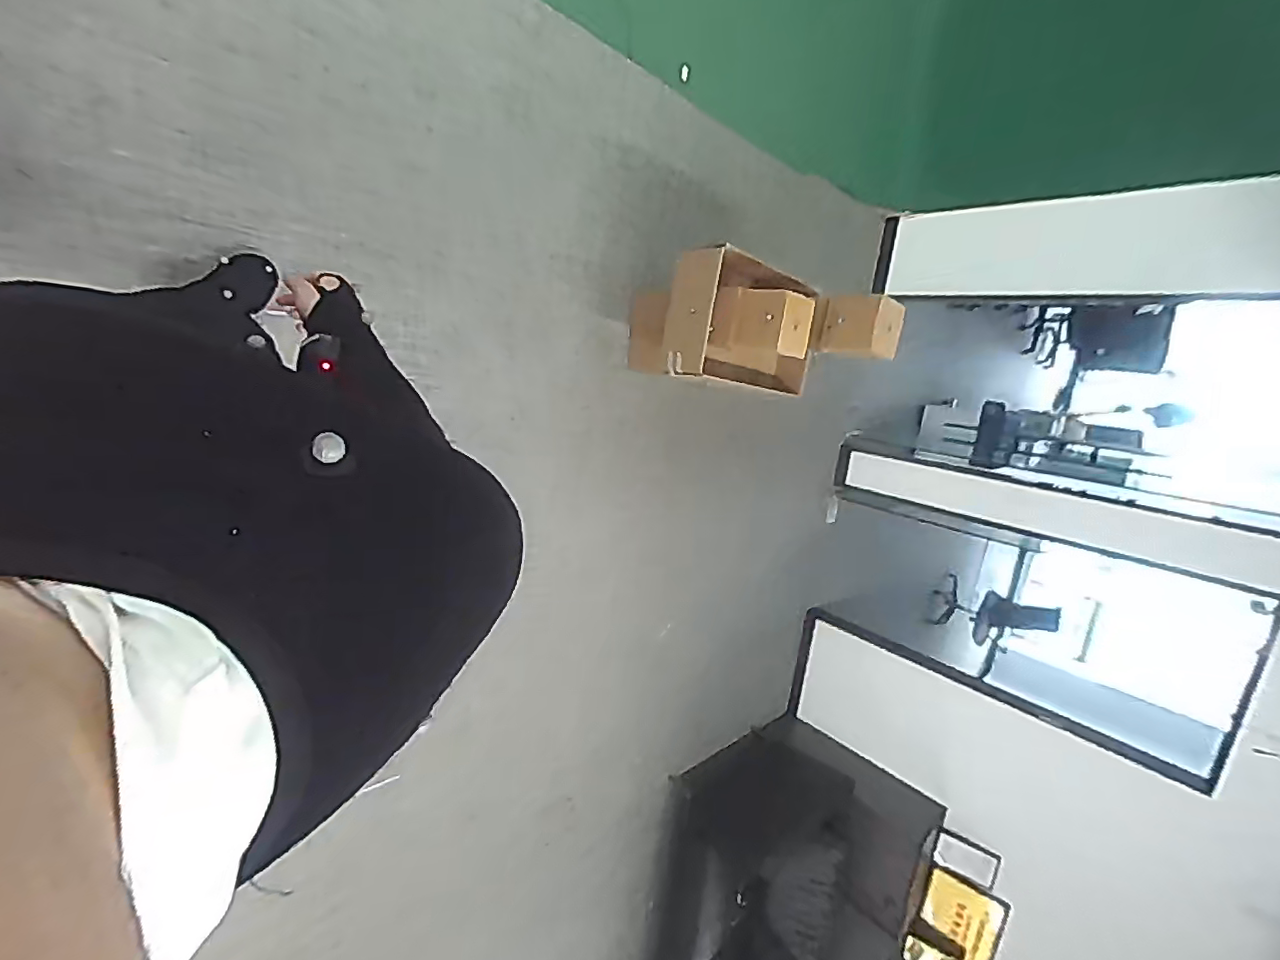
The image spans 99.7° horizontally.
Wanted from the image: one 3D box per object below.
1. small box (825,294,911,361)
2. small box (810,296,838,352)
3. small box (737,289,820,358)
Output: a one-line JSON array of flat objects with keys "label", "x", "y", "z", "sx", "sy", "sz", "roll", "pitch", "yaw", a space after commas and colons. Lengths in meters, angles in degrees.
[{"label": "small box", "x": 0.707, "y": -0.474, "z": 1.679, "sx": 0.179, "sy": 0.176, "sz": 0.168, "roll": 3, "pitch": 102, "yaw": -43}, {"label": "small box", "x": 0.611, "y": -0.517, "z": 1.807, "sx": 0.179, "sy": 0.176, "sz": 0.168, "roll": -7, "pitch": 110, "yaw": -40}, {"label": "small box", "x": 0.413, "y": -0.473, "z": 1.635, "sx": 0.168, "sy": 0.176, "sz": 0.179, "roll": -3, "pitch": 106, "yaw": -44}]
